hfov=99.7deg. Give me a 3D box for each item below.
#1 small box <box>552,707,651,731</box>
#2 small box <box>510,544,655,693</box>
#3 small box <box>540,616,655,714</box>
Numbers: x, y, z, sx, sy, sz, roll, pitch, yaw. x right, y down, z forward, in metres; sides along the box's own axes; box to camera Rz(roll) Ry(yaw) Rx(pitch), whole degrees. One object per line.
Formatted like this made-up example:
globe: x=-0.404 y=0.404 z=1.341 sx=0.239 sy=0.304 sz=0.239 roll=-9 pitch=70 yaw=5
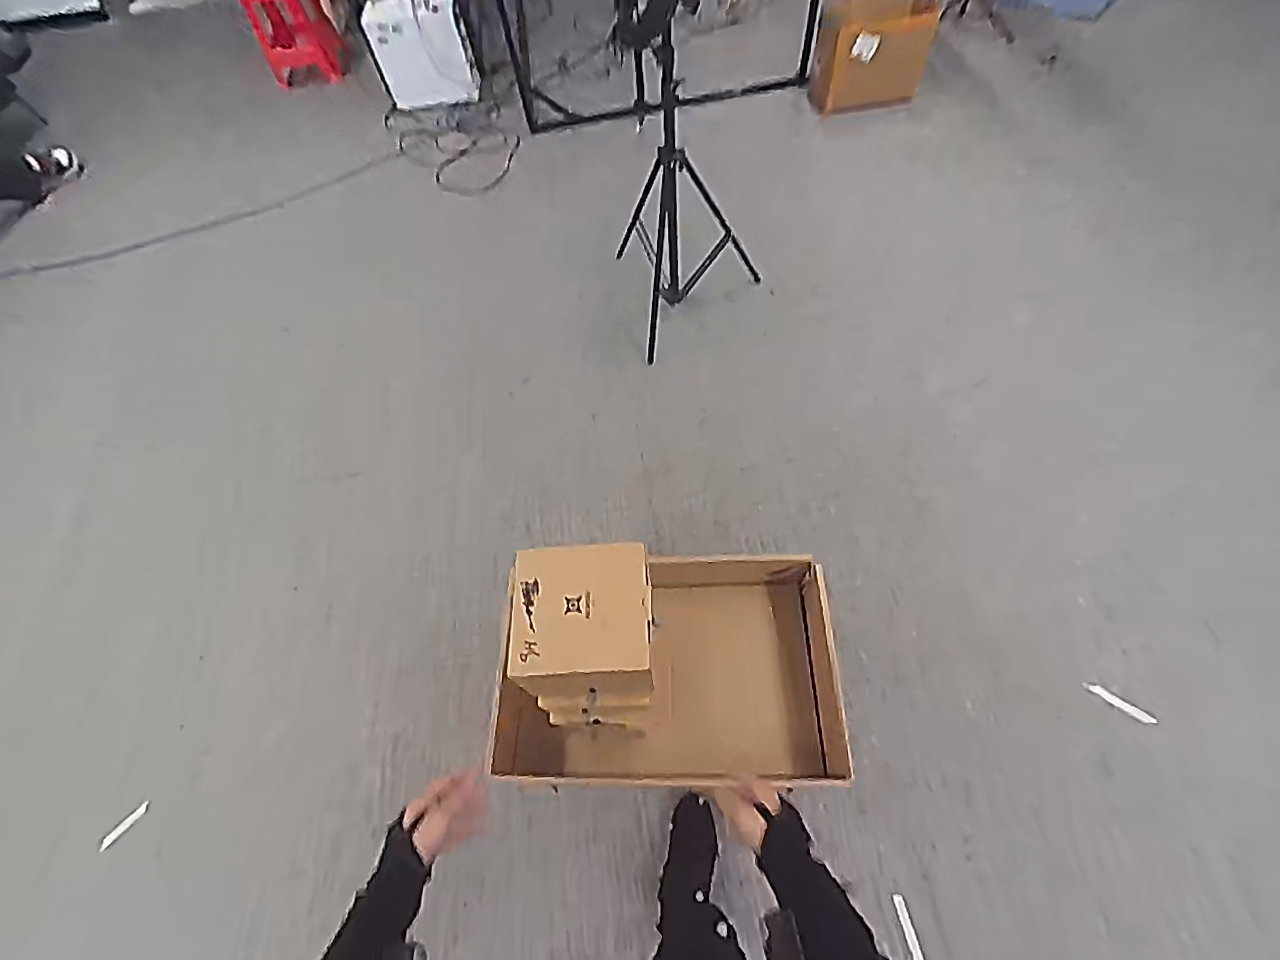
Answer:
small box: x=-0.061 y=0.375 z=1.029 sx=0.168 sy=0.176 sz=0.179 roll=1 pitch=60 yaw=4
small box: x=-0.069 y=0.197 z=0.754 sx=0.179 sy=0.176 sz=0.168 roll=-2 pitch=60 yaw=1
small box: x=-0.060 y=0.286 z=0.892 sx=0.168 sy=0.176 sz=0.179 roll=-2 pitch=60 yaw=2
